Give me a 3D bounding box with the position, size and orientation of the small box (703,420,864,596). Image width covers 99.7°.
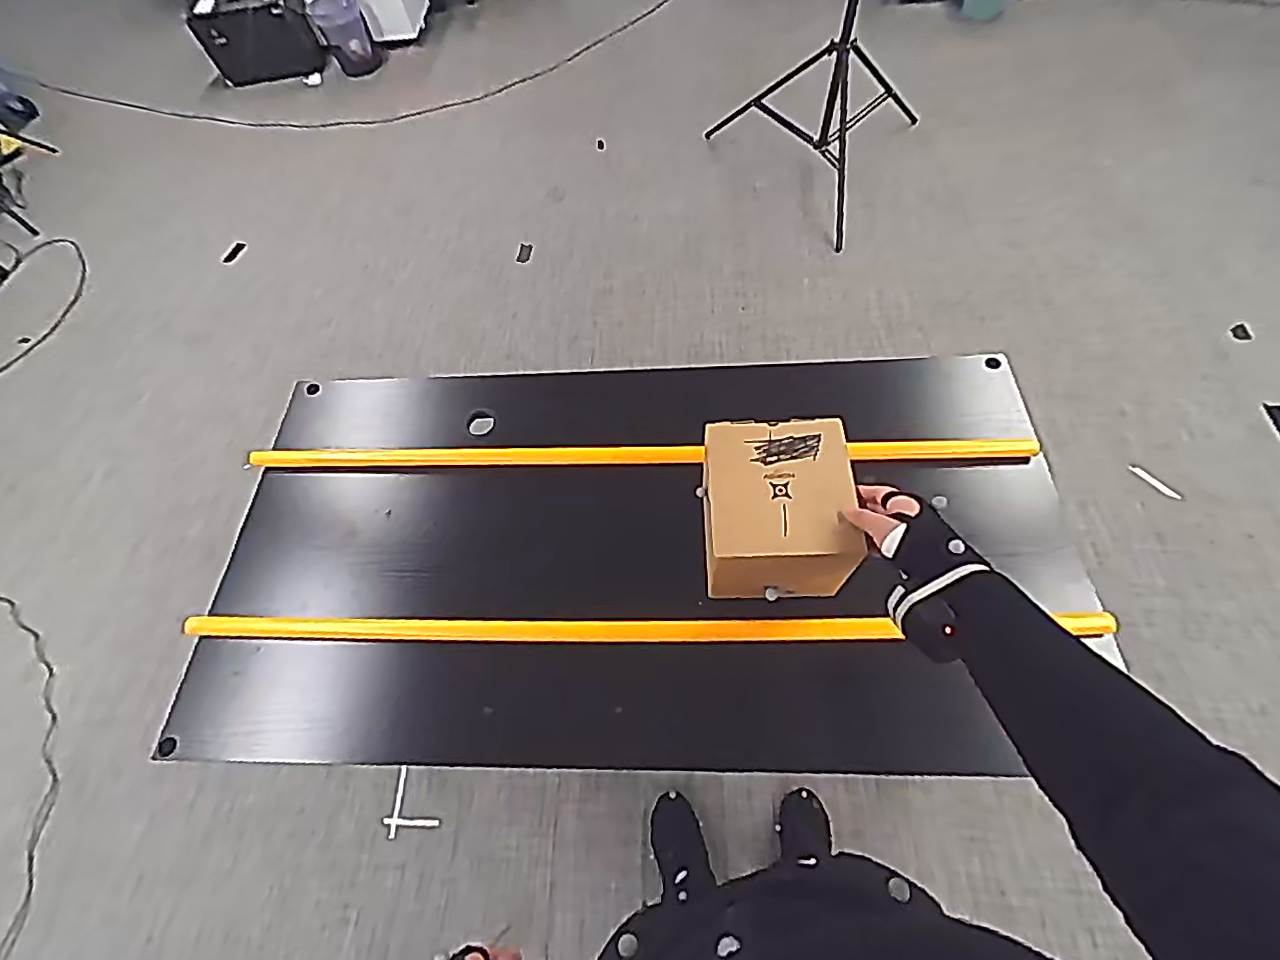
[{"bbox_3d":[0.169,0.042,0.699,0.168,0.176,0.179,-2,62,5],"label":"small box"}]
